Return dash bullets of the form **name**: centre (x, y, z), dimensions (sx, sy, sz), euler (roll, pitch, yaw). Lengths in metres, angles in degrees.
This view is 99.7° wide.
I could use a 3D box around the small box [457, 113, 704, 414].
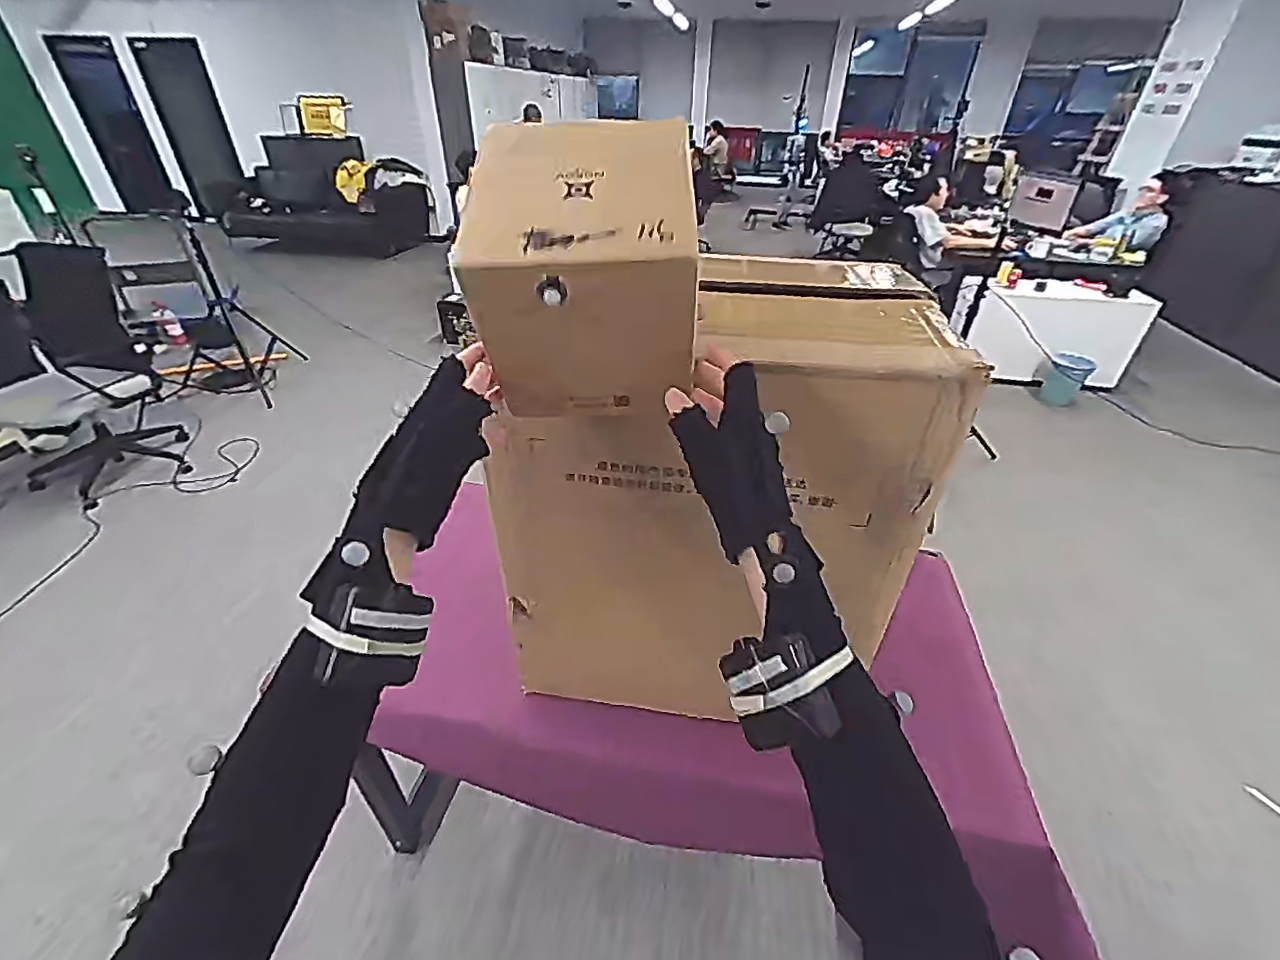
- **small box**: centre (-0.036, -0.176, 0.461), dimensions (0.168, 0.176, 0.179), euler (-2, 61, 3)
